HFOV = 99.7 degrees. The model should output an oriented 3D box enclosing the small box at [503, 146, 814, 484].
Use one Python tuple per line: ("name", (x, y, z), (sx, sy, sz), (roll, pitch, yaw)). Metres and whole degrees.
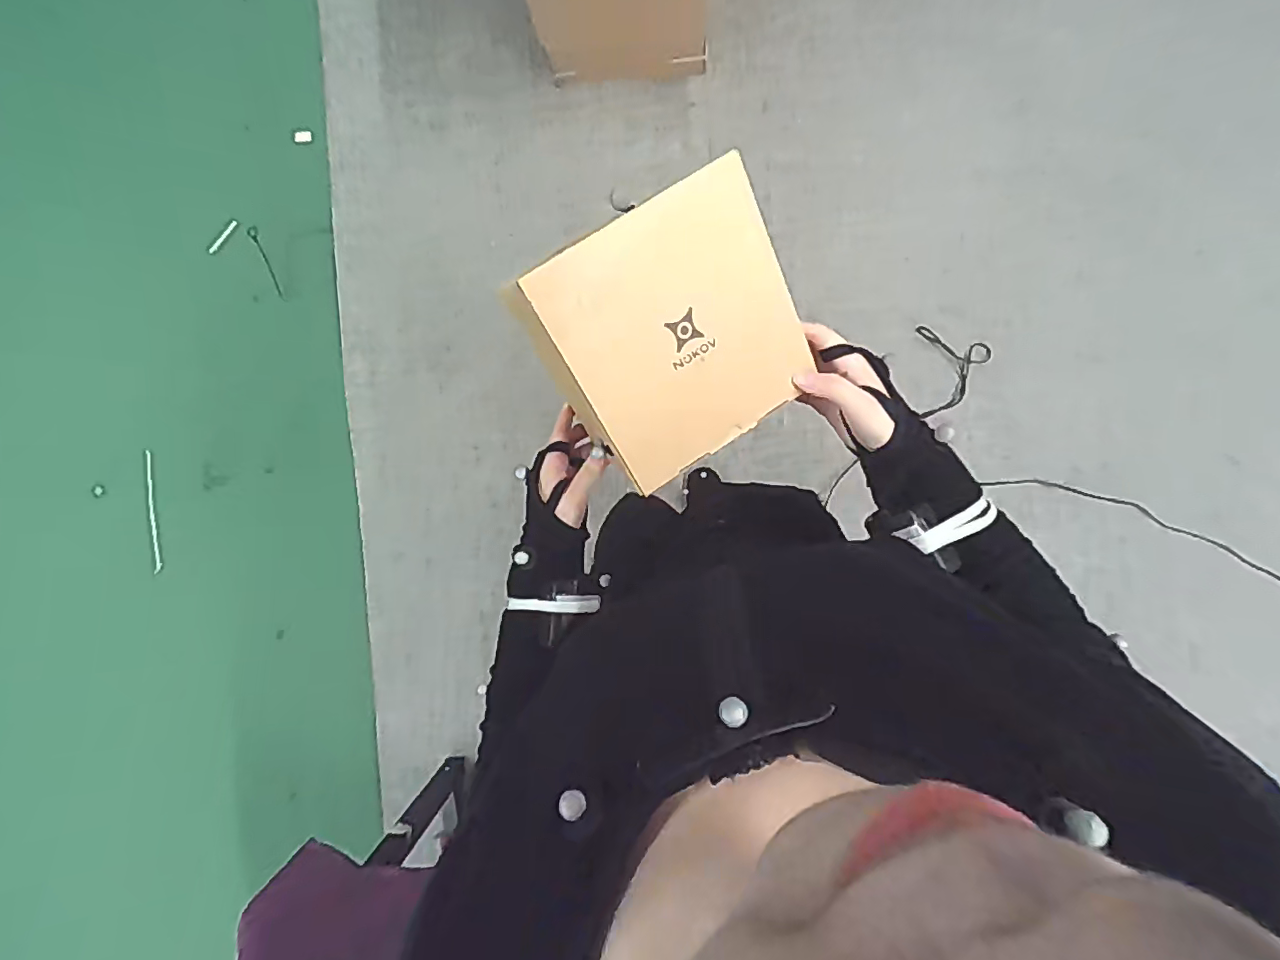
("small box", (0.004, -0.129, 0.443), (0.168, 0.176, 0.179), (-33, 116, -6))
